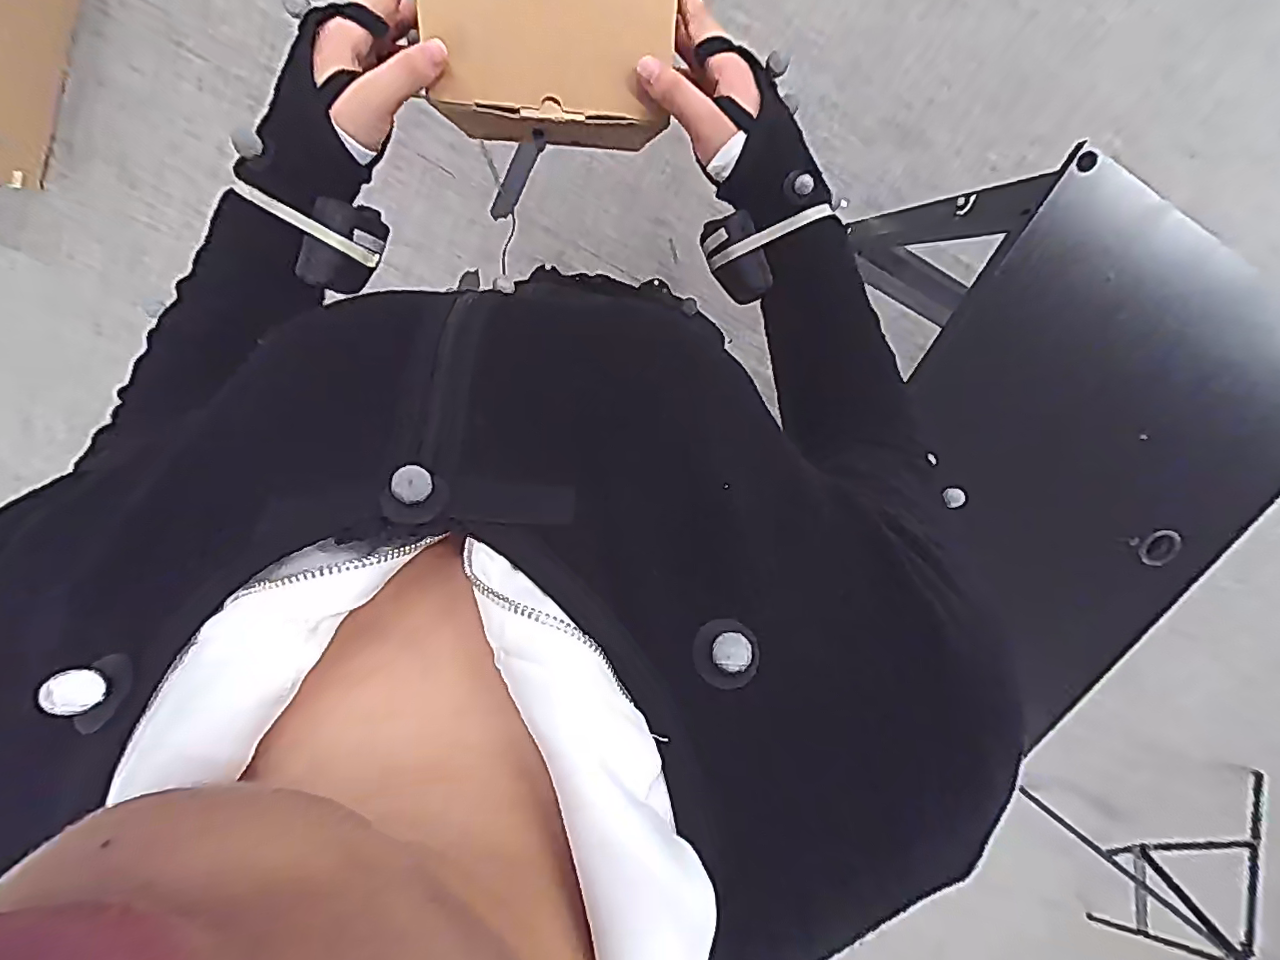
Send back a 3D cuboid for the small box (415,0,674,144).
[{"bbox_3d":[-0.068,-0.366,0.401,0.168,0.176,0.179,0,117,-8],"label":"small box"}]
